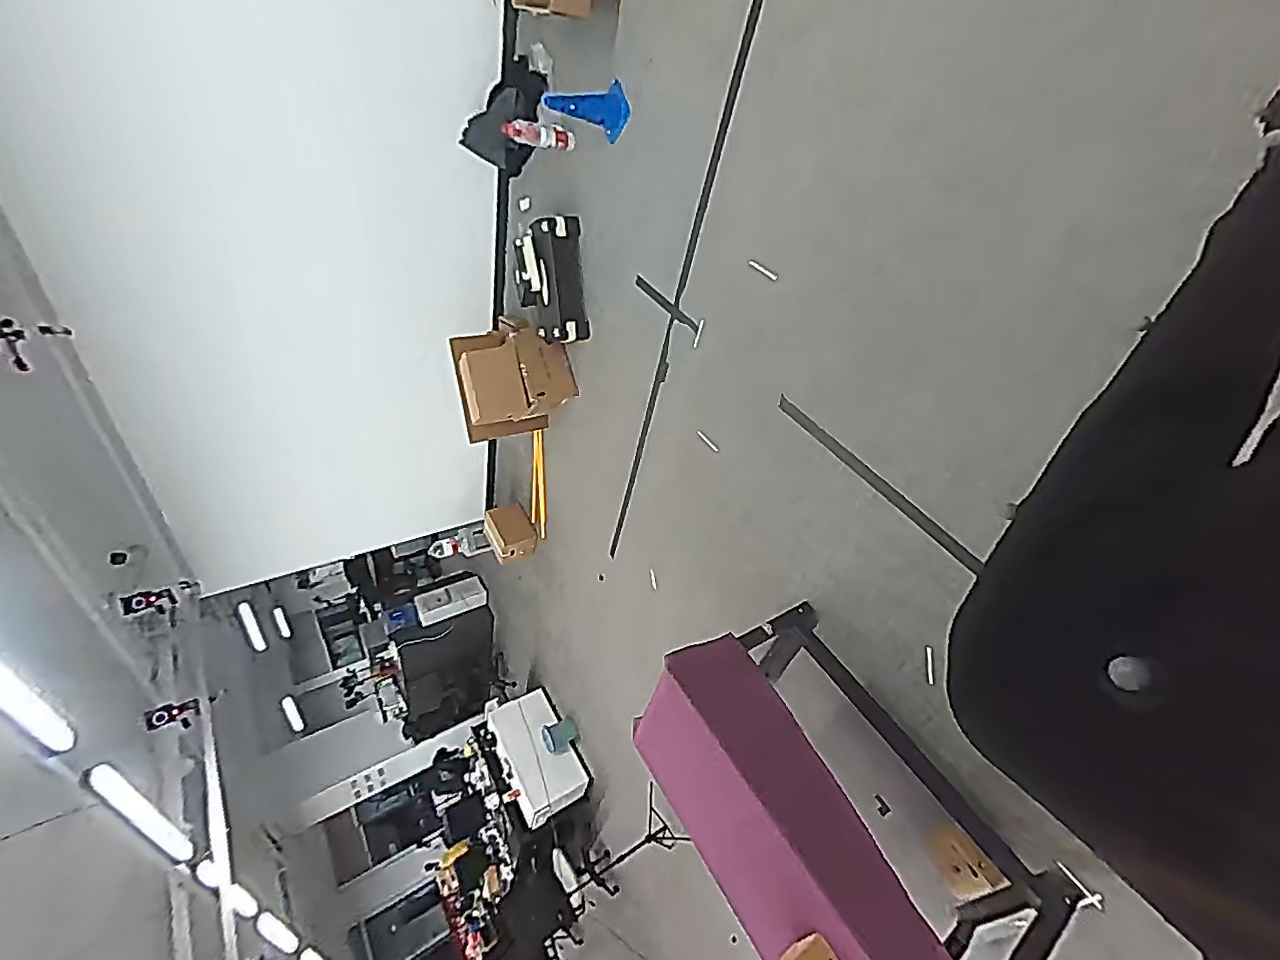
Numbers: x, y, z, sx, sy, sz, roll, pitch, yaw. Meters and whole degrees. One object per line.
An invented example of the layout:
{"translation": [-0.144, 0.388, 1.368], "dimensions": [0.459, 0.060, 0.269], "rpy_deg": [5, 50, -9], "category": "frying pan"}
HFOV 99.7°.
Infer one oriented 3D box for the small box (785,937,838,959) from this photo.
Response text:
{"translation": [0.469, 1.403, 1.476], "dimensions": [0.168, 0.176, 0.179], "rpy_deg": [50, 140, 34], "category": "small box"}
